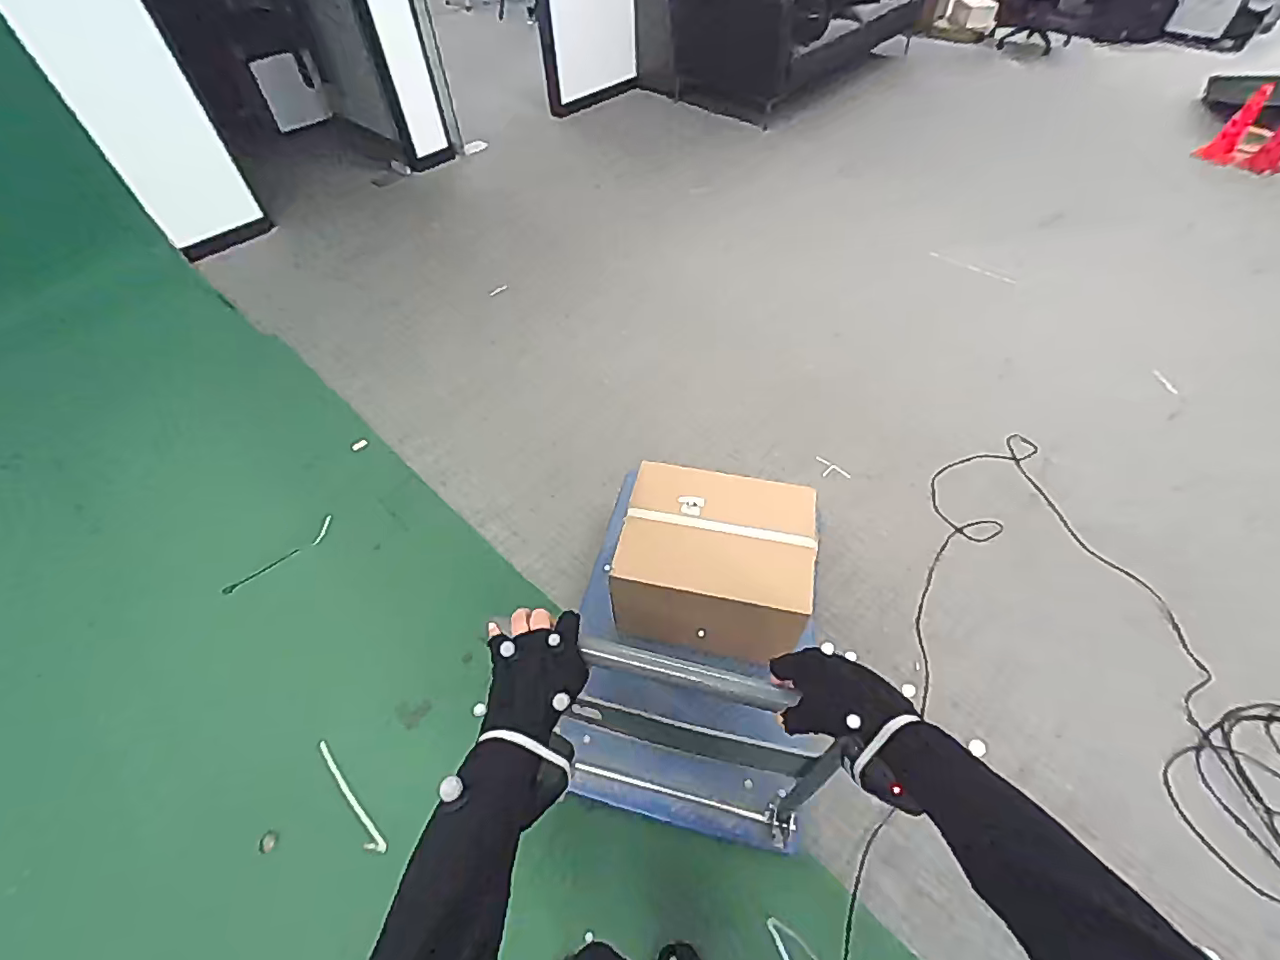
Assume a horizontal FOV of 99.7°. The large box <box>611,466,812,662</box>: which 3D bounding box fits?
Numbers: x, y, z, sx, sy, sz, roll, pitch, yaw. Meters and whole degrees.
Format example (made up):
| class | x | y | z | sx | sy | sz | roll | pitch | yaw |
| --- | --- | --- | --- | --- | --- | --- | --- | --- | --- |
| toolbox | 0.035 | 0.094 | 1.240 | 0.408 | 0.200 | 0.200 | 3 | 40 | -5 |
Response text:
| class | x | y | z | sx | sy | sz | roll | pitch | yaw |
| --- | --- | --- | --- | --- | --- | --- | --- | --- | --- |
| large box | 0.172 | 0.201 | 1.278 | 0.408 | 0.320 | 0.320 | 9 | 52 | 9 |
